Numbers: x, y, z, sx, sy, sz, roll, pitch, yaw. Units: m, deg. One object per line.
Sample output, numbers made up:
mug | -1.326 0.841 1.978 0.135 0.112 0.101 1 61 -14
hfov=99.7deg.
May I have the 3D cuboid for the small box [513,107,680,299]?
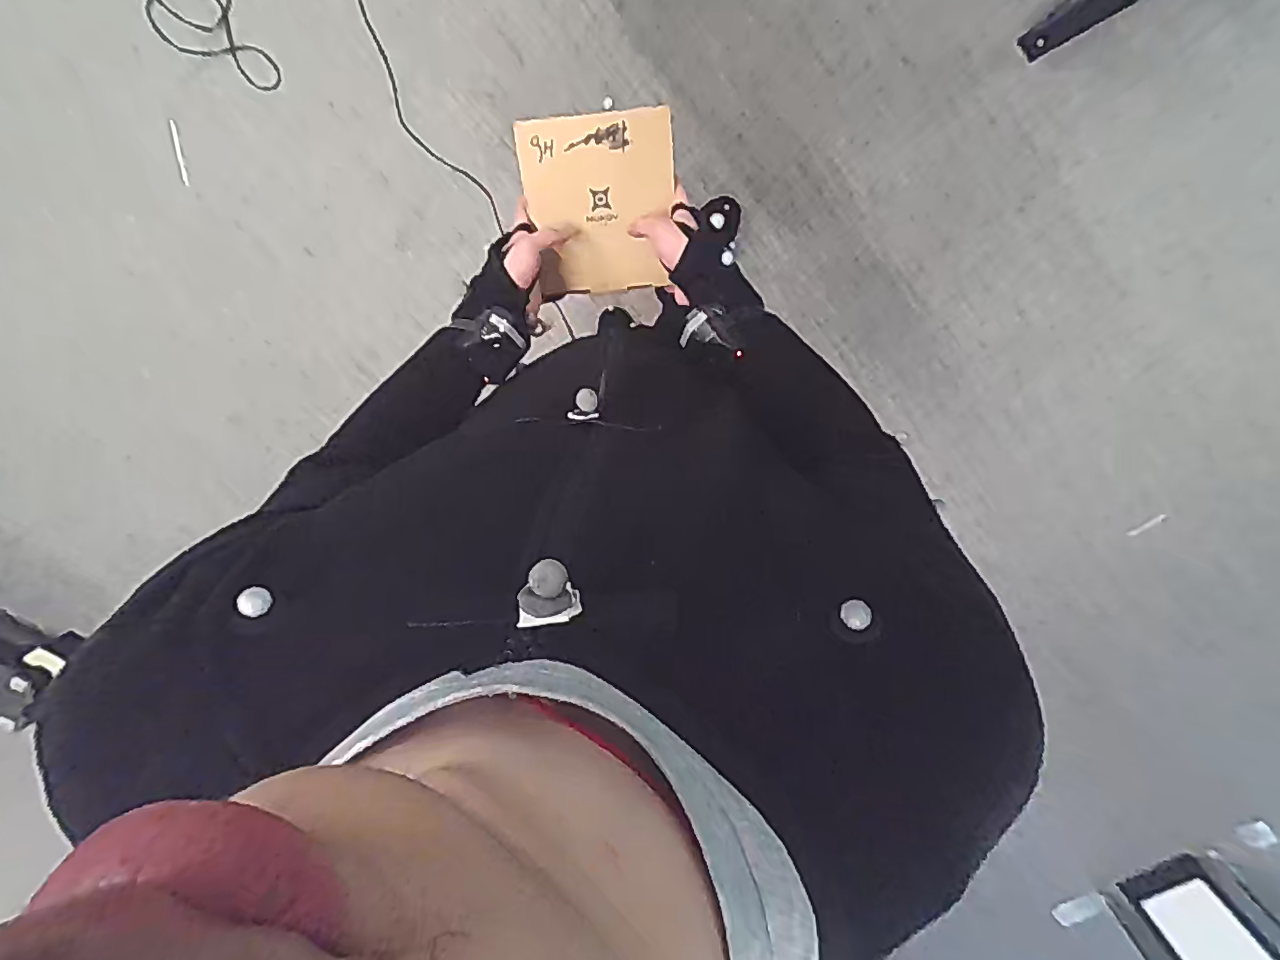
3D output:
small box | -0.037 -0.332 0.651 0.168 0.176 0.179 -4 121 5
